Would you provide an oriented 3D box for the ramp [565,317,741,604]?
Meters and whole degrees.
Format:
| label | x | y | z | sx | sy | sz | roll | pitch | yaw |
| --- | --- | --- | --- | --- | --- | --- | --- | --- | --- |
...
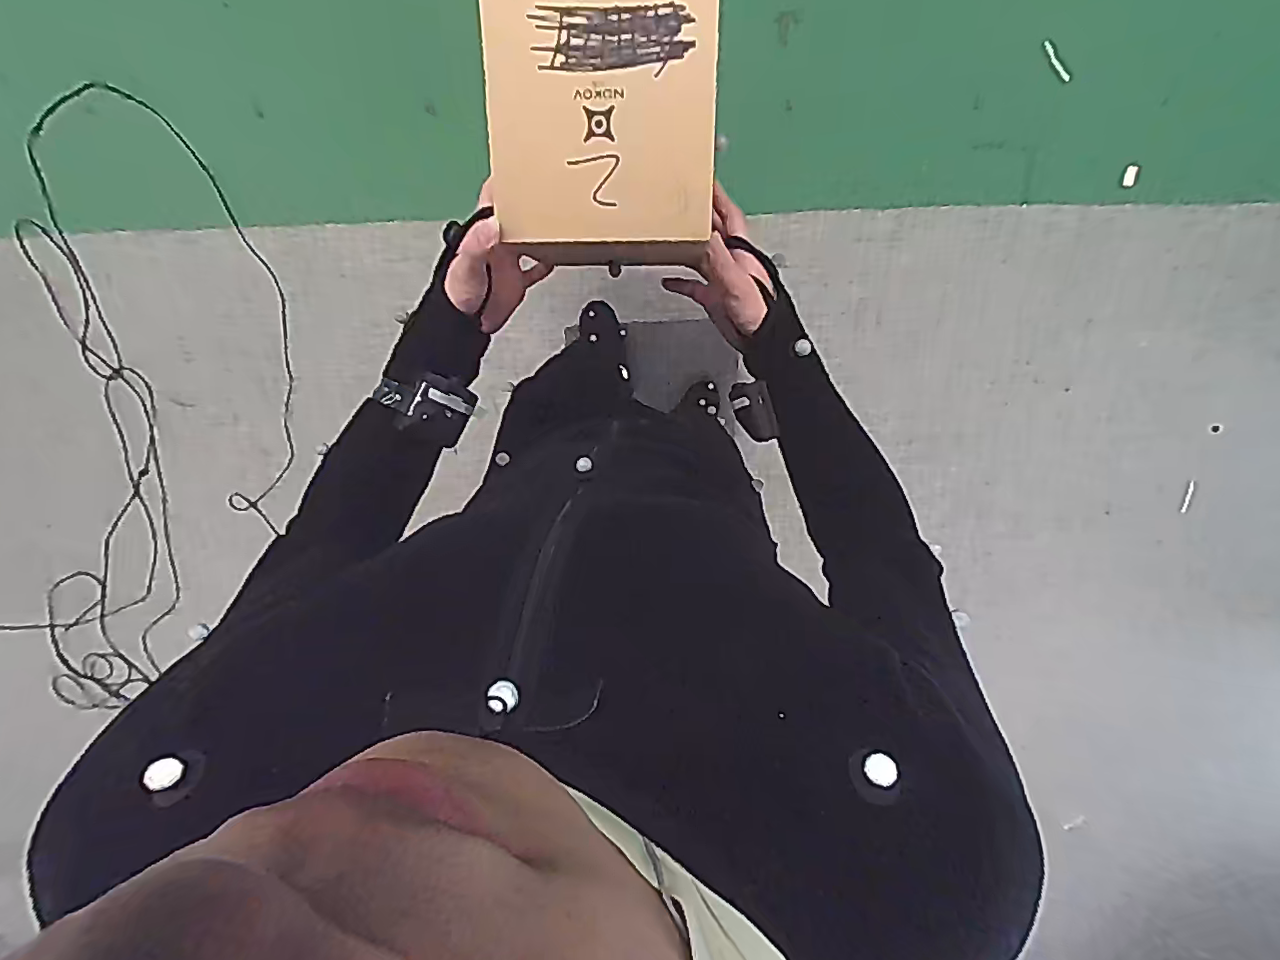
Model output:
| label | x | y | z | sx | sy | sz | roll | pitch | yaw |
| --- | --- | --- | --- | --- | --- | --- | --- | --- | --- |
| ramp | 0.061 | 0.000 | 1.714 | 0.509 | 0.206 | 0.991 | -3 | 108 | 2 |
